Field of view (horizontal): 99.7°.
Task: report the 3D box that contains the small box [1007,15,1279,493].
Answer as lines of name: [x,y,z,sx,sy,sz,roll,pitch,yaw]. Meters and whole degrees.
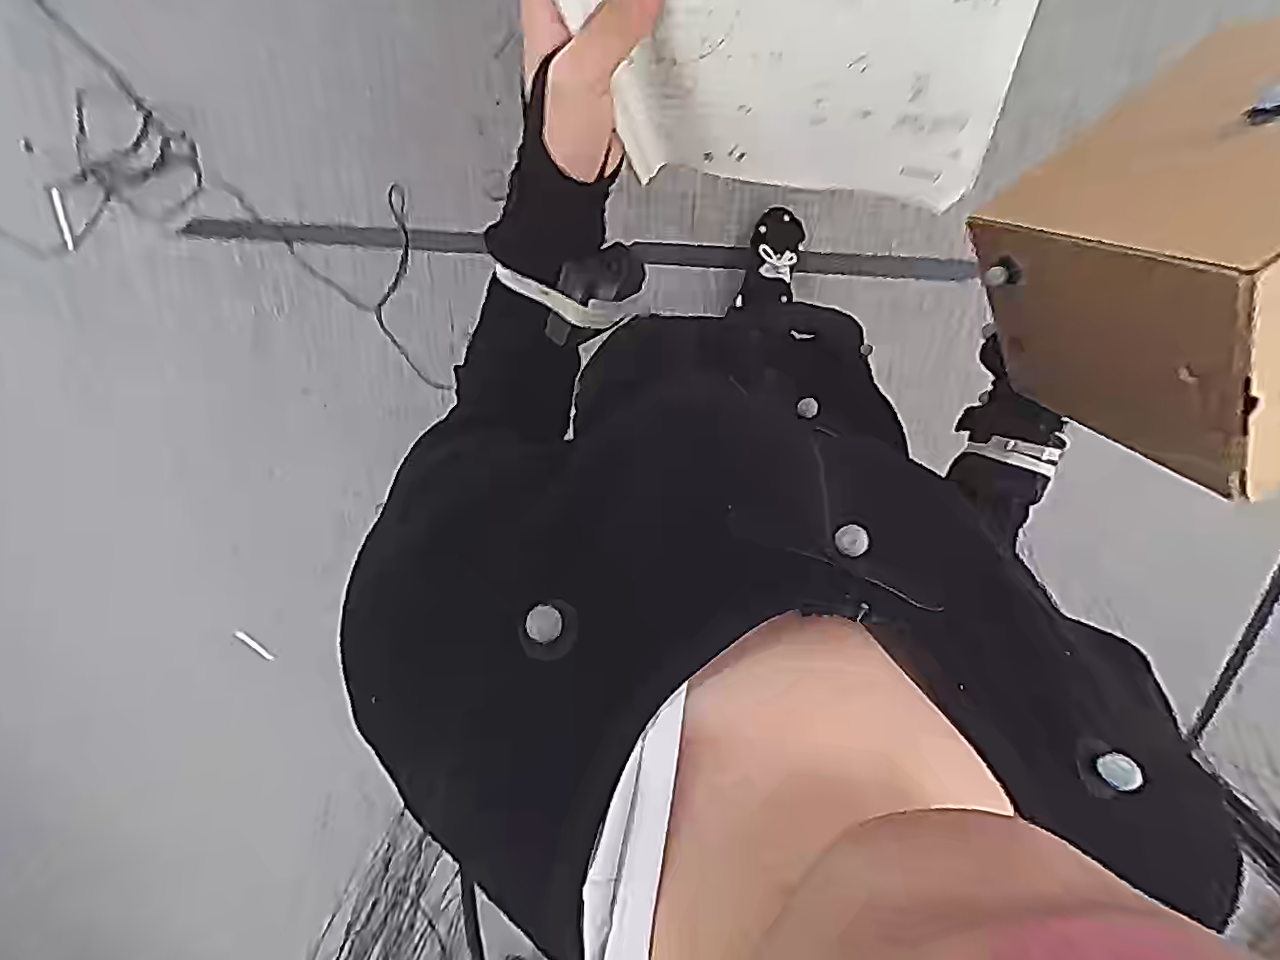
small box: [0.351,-0.132,0.311,0.179,0.176,0.168,-37,124,10]
